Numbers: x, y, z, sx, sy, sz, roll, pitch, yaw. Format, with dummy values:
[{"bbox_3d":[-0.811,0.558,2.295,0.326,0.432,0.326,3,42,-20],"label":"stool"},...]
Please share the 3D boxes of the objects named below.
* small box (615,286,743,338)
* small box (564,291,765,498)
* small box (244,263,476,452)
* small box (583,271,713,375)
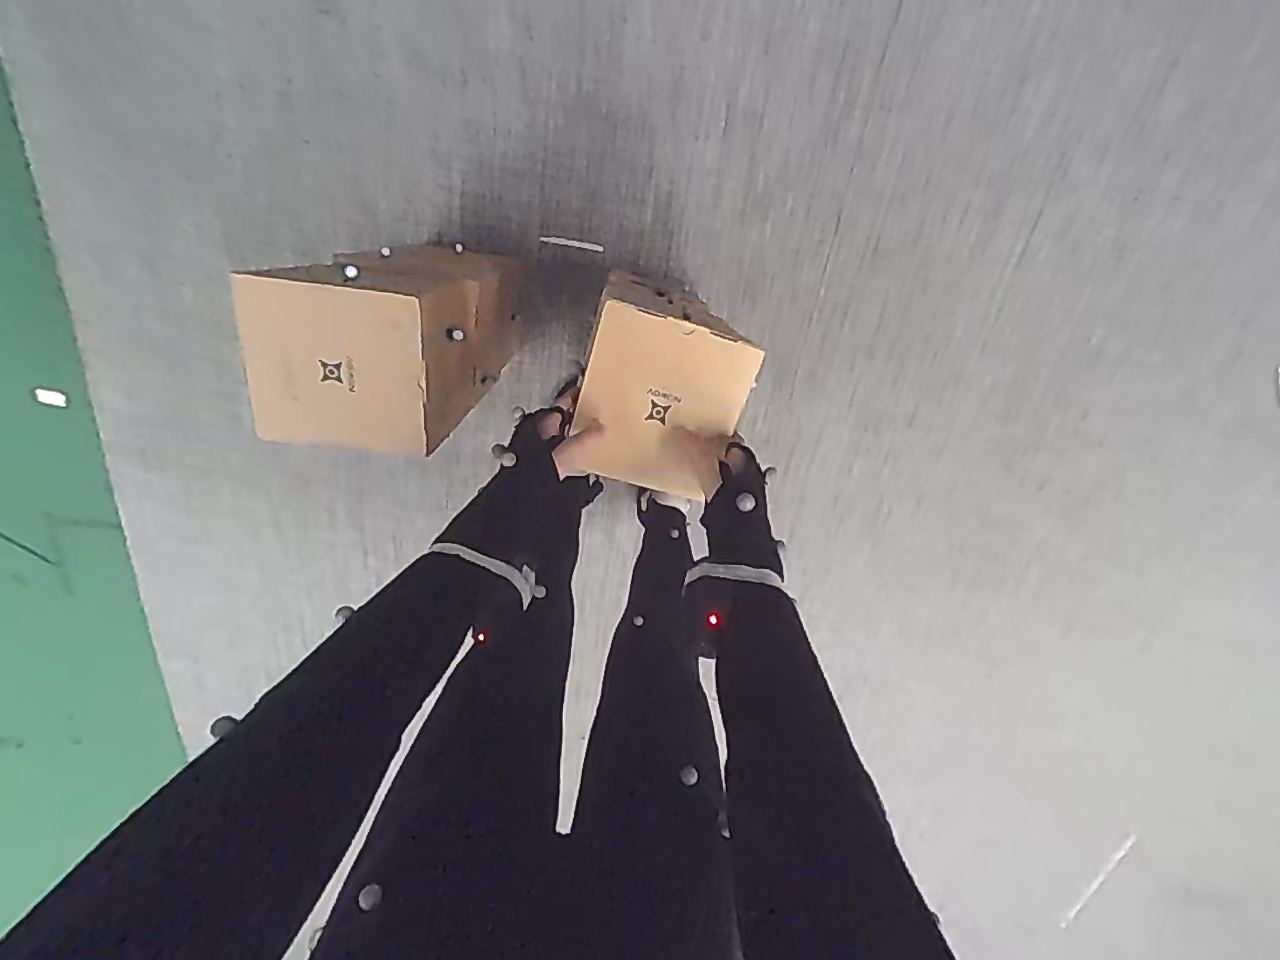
[{"bbox_3d":[0.026,-0.173,0.784,0.179,0.176,0.168,17,113,-7],"label":"small box"},{"bbox_3d":[0.019,-0.107,0.627,0.168,0.176,0.179,16,109,-10],"label":"small box"},{"bbox_3d":[-0.292,-0.146,0.610,0.179,0.176,0.168,8,114,-3],"label":"small box"},{"bbox_3d":[0.009,-0.247,0.930,0.168,0.176,0.179,17,114,-8],"label":"small box"}]
